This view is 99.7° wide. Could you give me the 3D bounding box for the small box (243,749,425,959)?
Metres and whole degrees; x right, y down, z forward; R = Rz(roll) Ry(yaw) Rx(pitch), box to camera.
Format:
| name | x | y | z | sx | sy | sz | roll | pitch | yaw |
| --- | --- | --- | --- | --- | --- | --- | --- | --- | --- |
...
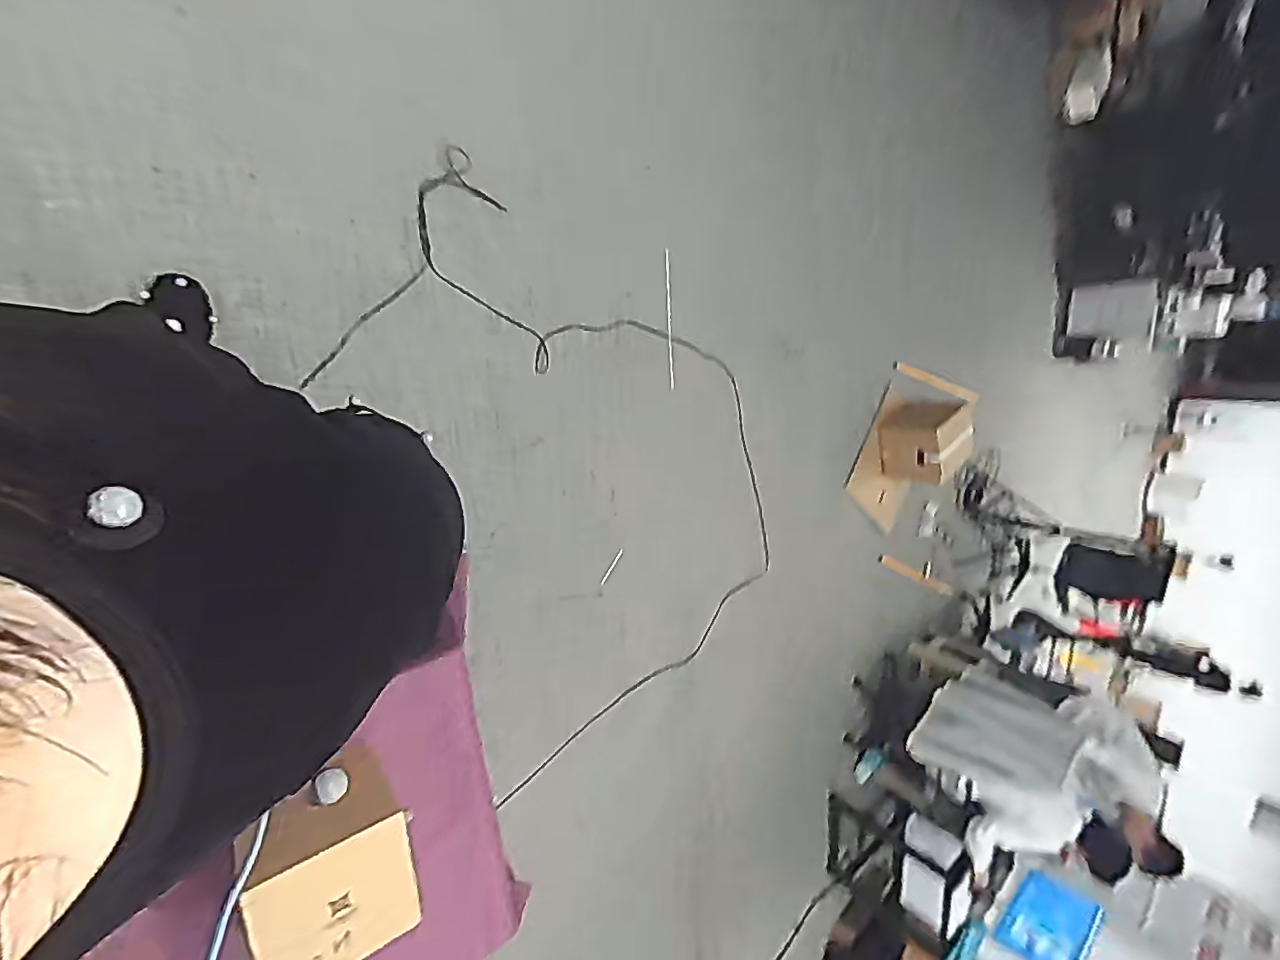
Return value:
| name | x | y | z | sx | sy | sz | roll | pitch | yaw |
| --- | --- | --- | --- | --- | --- | --- | --- | --- | --- |
| small box | -0.397 | 0.484 | 0.700 | 0.168 | 0.176 | 0.179 | -13 | 107 | -36 |
